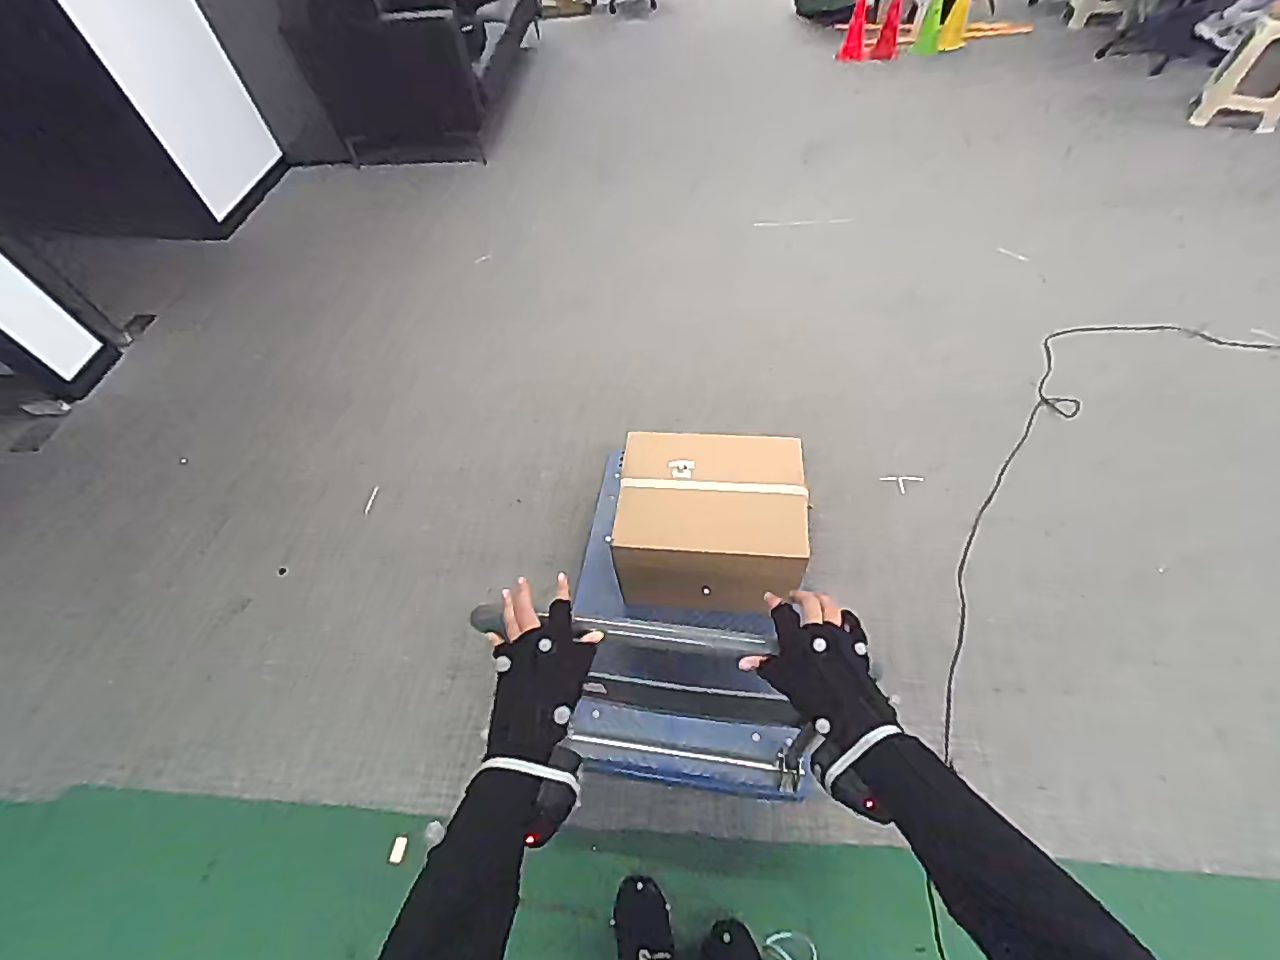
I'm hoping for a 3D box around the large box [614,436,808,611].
[{"bbox_3d":[0.169,0.109,1.310,0.408,0.320,0.320,2,54,8],"label":"large box"}]
